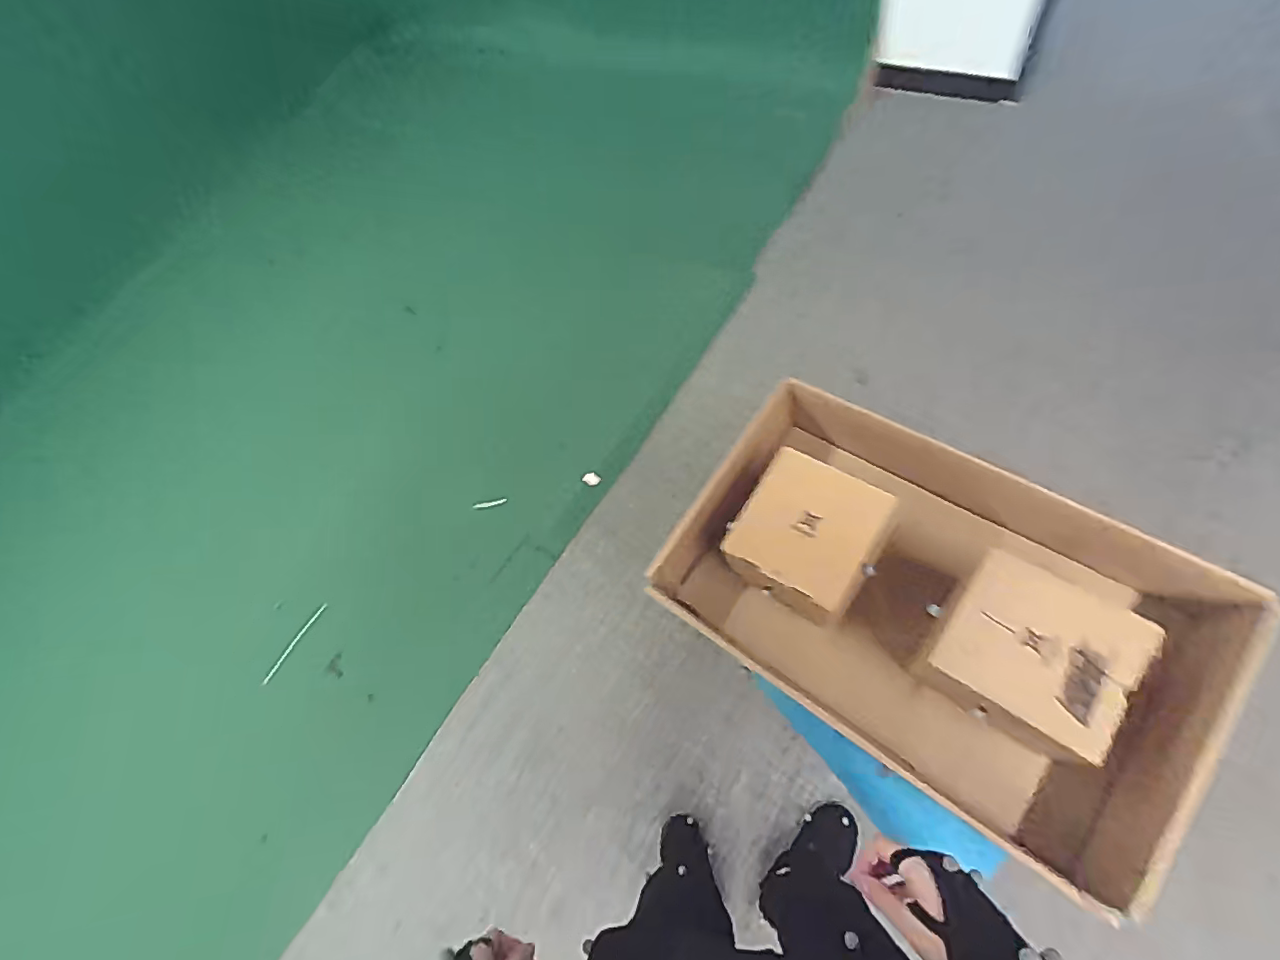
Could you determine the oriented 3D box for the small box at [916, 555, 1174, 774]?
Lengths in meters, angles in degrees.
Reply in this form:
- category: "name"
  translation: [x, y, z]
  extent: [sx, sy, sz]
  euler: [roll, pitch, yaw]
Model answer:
- category: "small box"
  translation: [0.471, 0.221, 0.662]
  extent: [0.179, 0.176, 0.168]
  euler: [31, 79, 27]
